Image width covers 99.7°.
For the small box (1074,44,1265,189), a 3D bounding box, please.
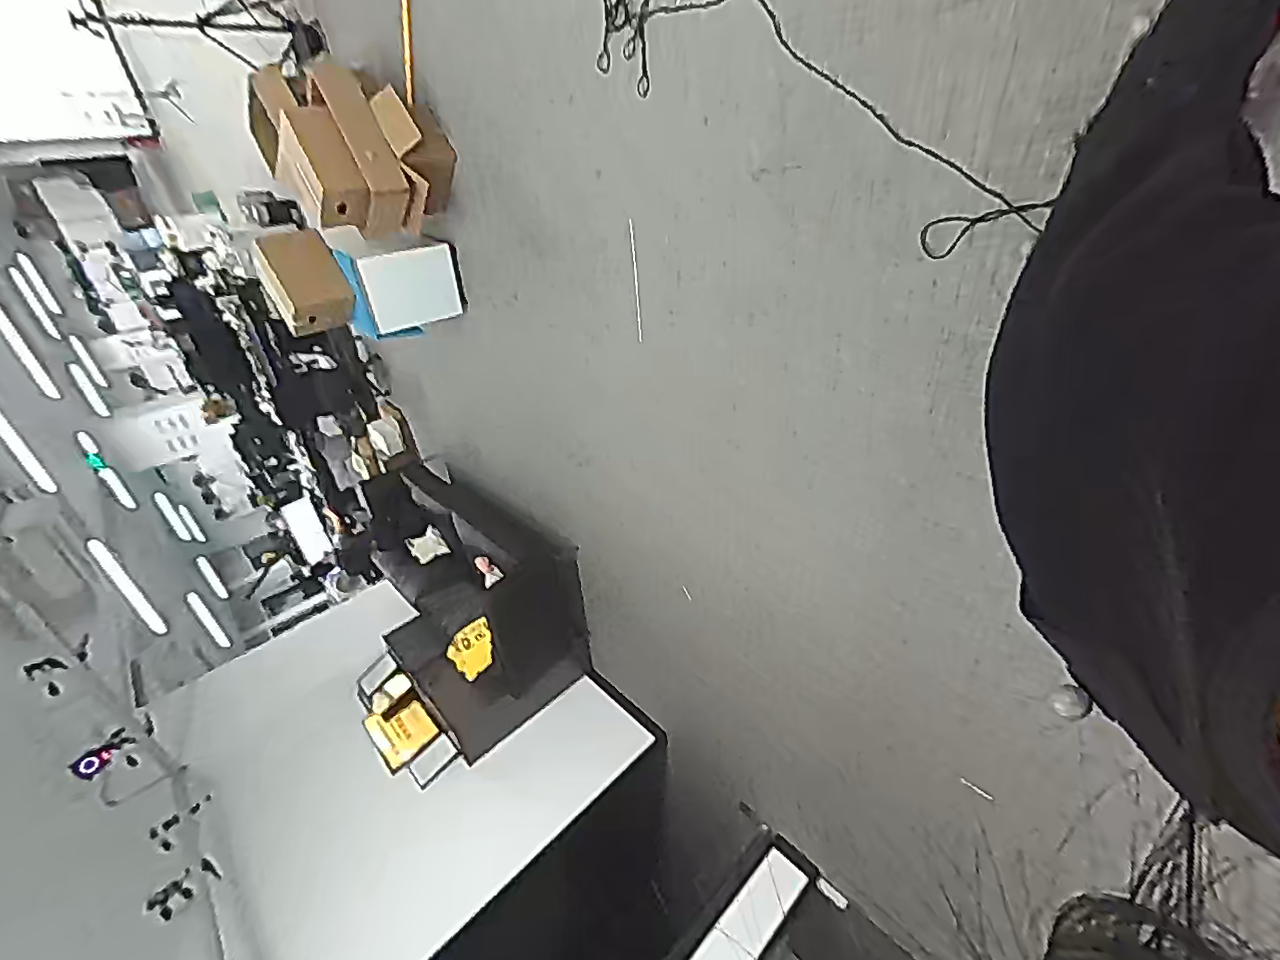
[{"bbox_3d":[0.912,-0.630,0.937,0.168,0.176,0.179,39,141,29],"label":"small box"}]
